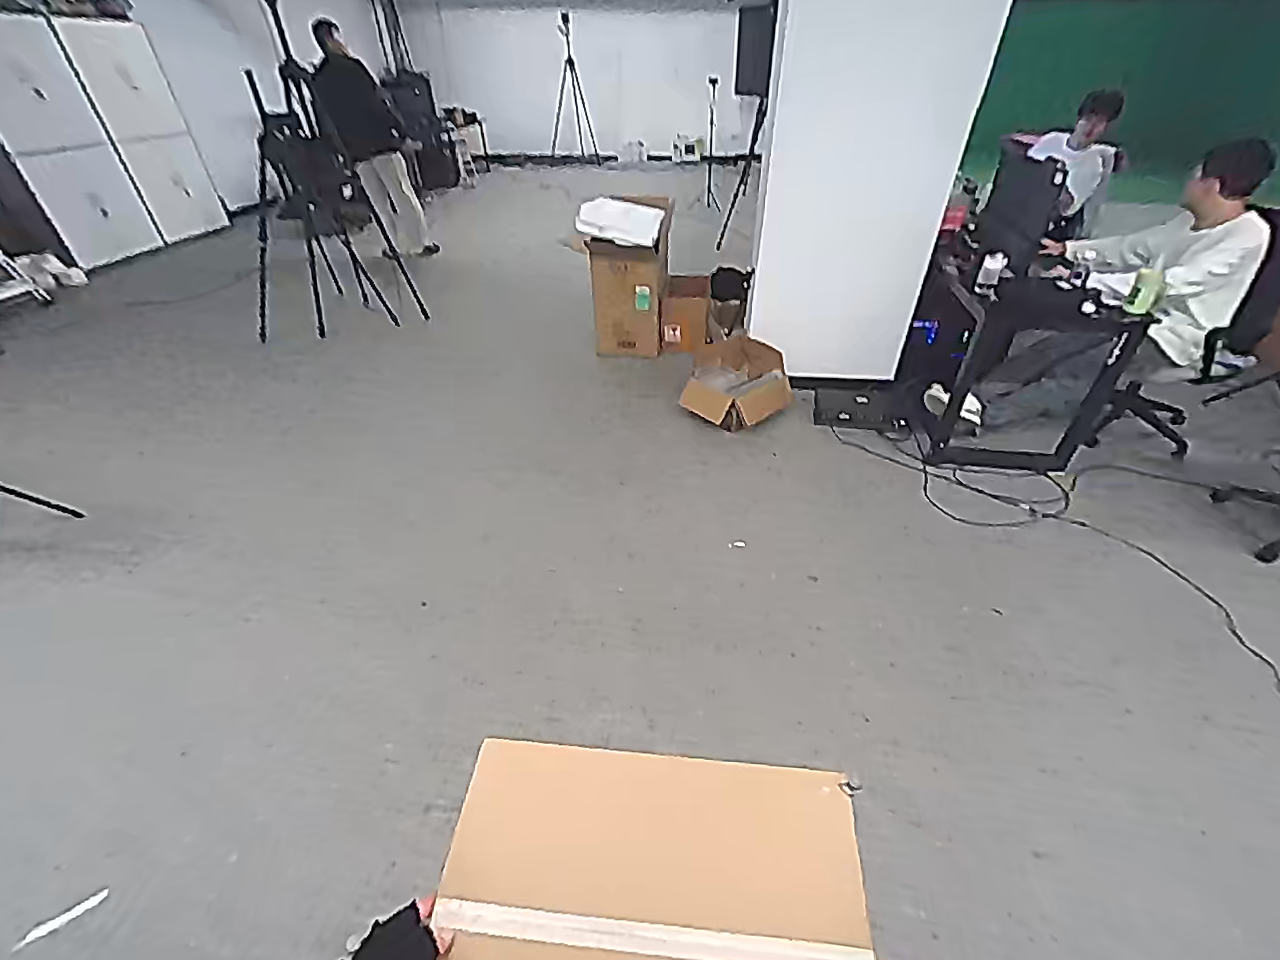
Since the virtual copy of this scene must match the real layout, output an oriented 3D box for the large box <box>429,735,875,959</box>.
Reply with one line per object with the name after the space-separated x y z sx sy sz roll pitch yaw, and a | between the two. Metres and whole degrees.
0.013 0.514 0.602 0.408 0.320 0.320 4 46 4 | large box
